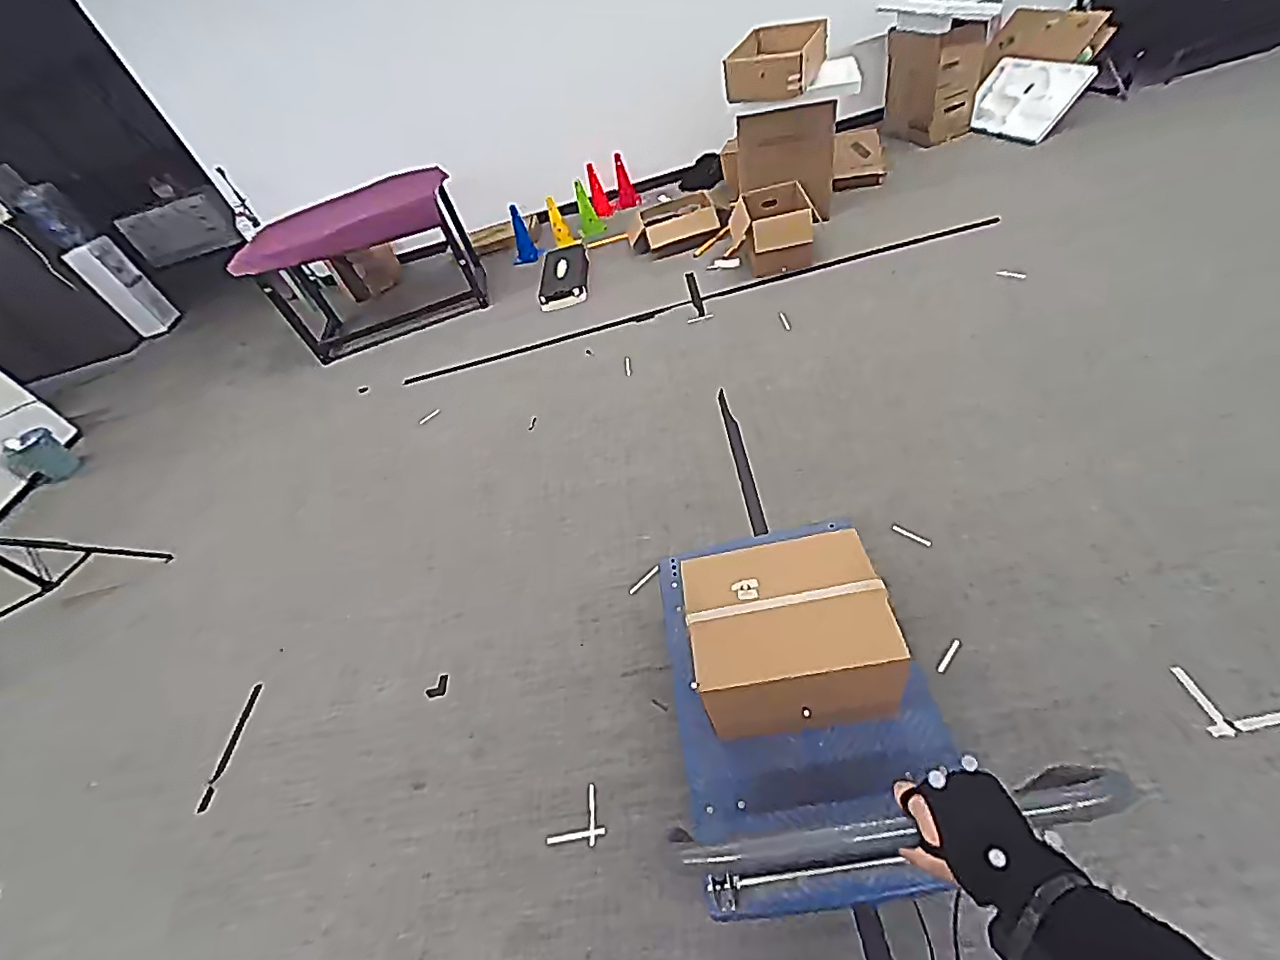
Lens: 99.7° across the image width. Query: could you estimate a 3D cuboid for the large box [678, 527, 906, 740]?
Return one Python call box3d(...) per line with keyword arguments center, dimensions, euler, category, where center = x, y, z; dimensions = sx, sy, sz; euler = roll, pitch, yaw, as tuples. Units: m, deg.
box3d(center=(0.329, 0.355, 1.226), dimensions=(0.408, 0.320, 0.320), euler=(-13, 44, 8), category="large box")
